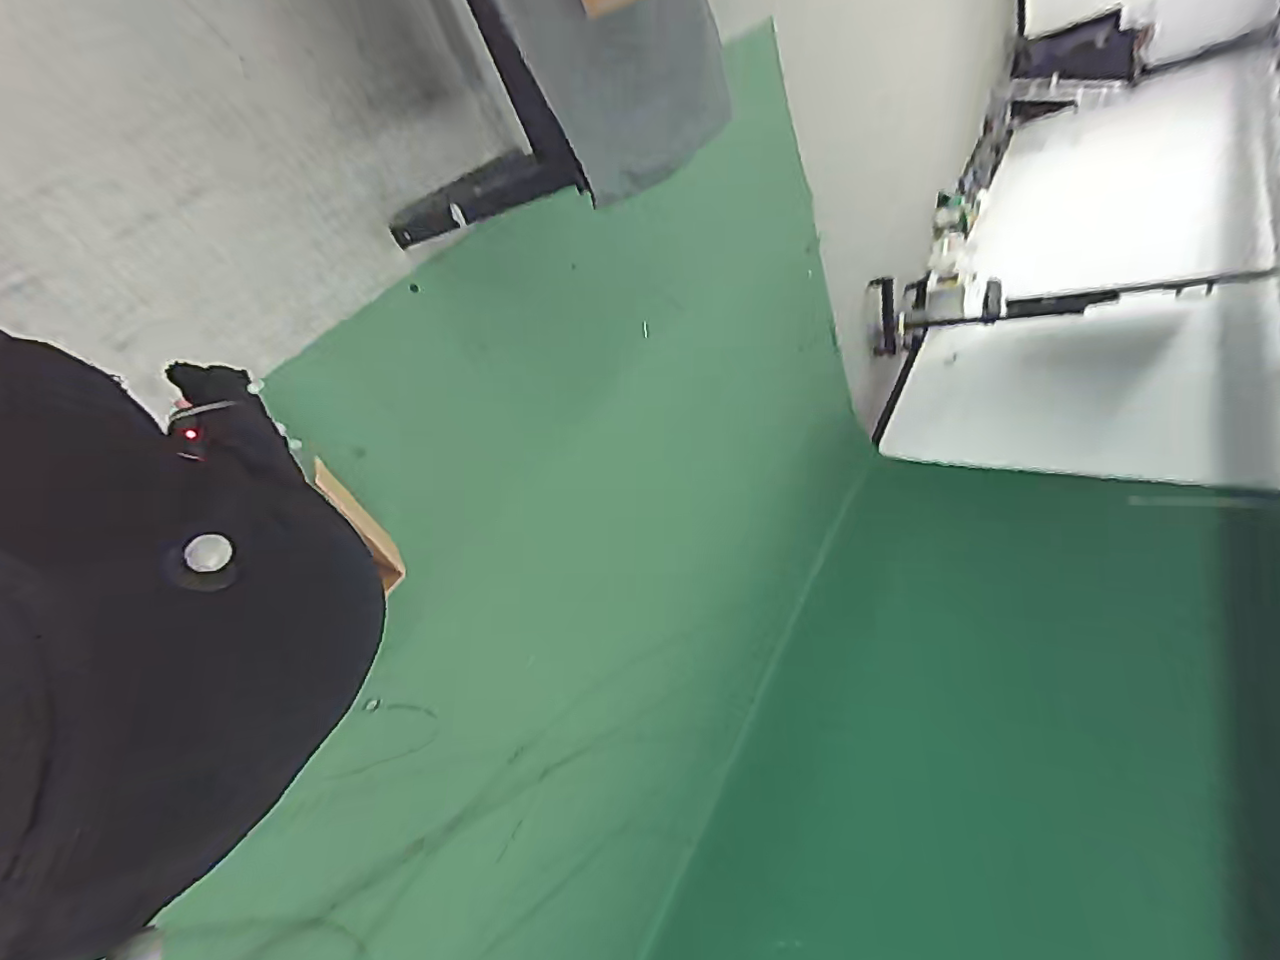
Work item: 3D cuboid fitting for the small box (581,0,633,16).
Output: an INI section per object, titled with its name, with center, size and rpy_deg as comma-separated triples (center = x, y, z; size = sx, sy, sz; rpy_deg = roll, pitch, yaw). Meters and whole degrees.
[small box]
center = -0.017, -0.938, 0.918
size = 0.179, 0.176, 0.168
rpy_deg = -53, 132, -30
